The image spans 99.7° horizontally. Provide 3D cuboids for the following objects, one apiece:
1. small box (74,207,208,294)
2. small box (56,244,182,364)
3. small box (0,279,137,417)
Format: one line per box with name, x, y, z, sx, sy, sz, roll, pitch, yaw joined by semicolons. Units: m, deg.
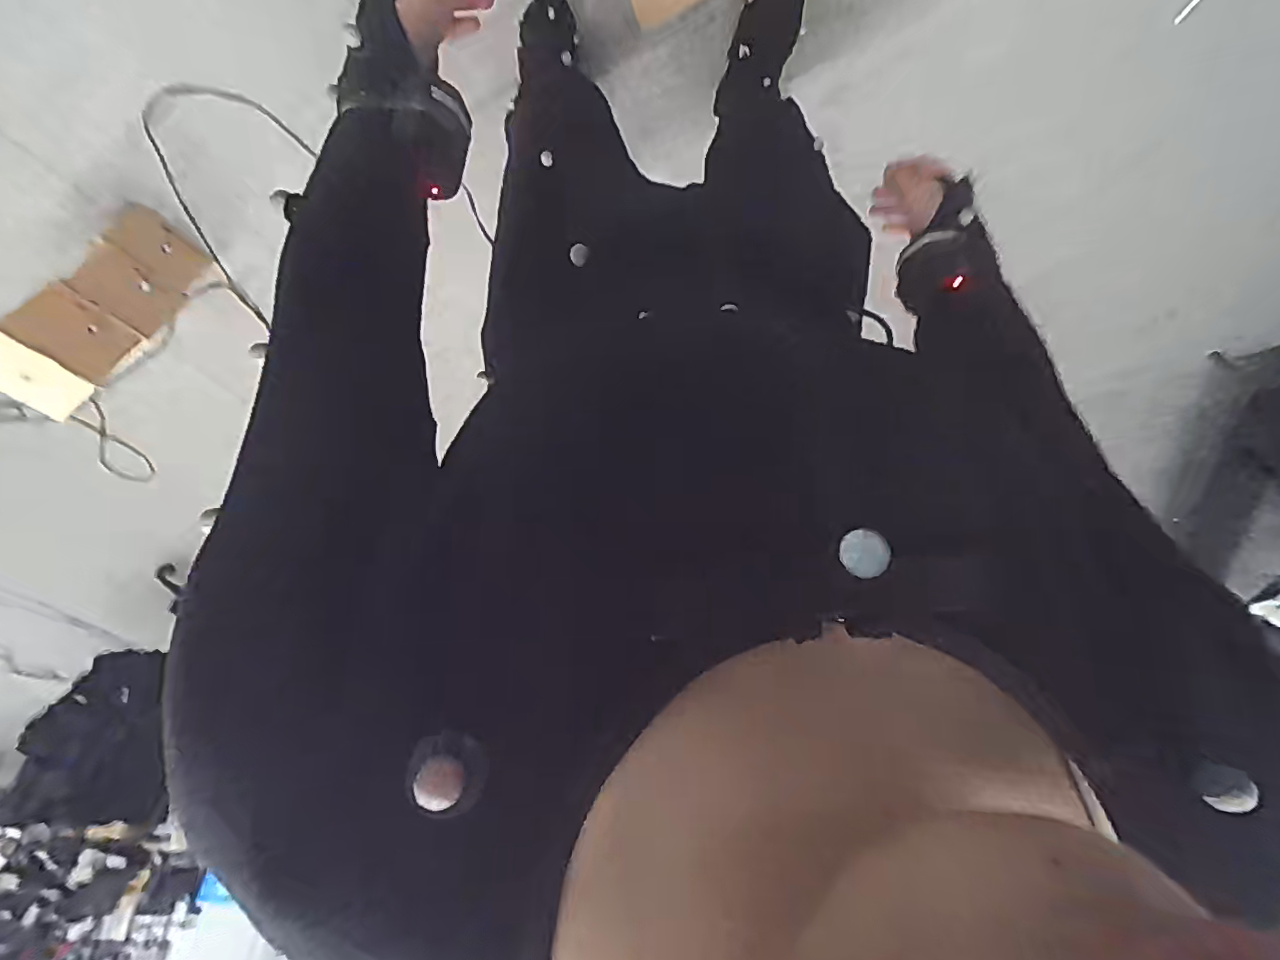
small box;-1.192;-0.516;1.299;0.179;0.176;0.168;-24;133;26
small box;-1.181;-0.383;1.202;0.179;0.176;0.168;-22;135;23
small box;-1.182;-0.265;1.090;0.179;0.176;0.168;-23;134;24
